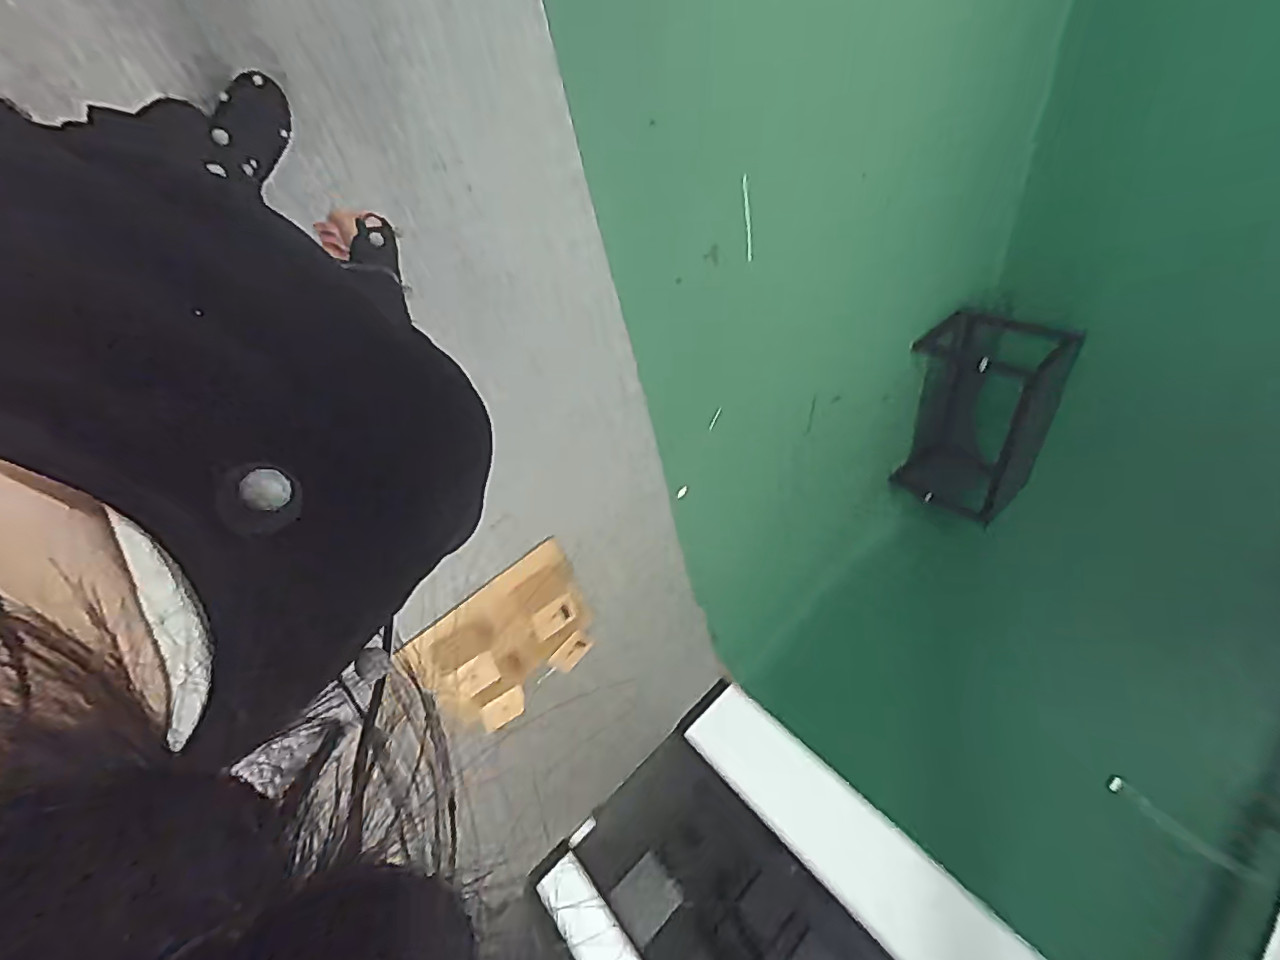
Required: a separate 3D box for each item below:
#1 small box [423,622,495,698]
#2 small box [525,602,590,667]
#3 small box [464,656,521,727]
[{"bbox_3d":[-0.660,0.644,1.966,0.168,0.176,0.179,-31,135,-26],"label":"small box"},{"bbox_3d":[-0.351,0.645,2.276,0.179,0.176,0.168,-46,139,-9],"label":"small box"},{"bbox_3d":[-0.600,0.834,2.157,0.168,0.176,0.179,-26,133,-31],"label":"small box"}]
